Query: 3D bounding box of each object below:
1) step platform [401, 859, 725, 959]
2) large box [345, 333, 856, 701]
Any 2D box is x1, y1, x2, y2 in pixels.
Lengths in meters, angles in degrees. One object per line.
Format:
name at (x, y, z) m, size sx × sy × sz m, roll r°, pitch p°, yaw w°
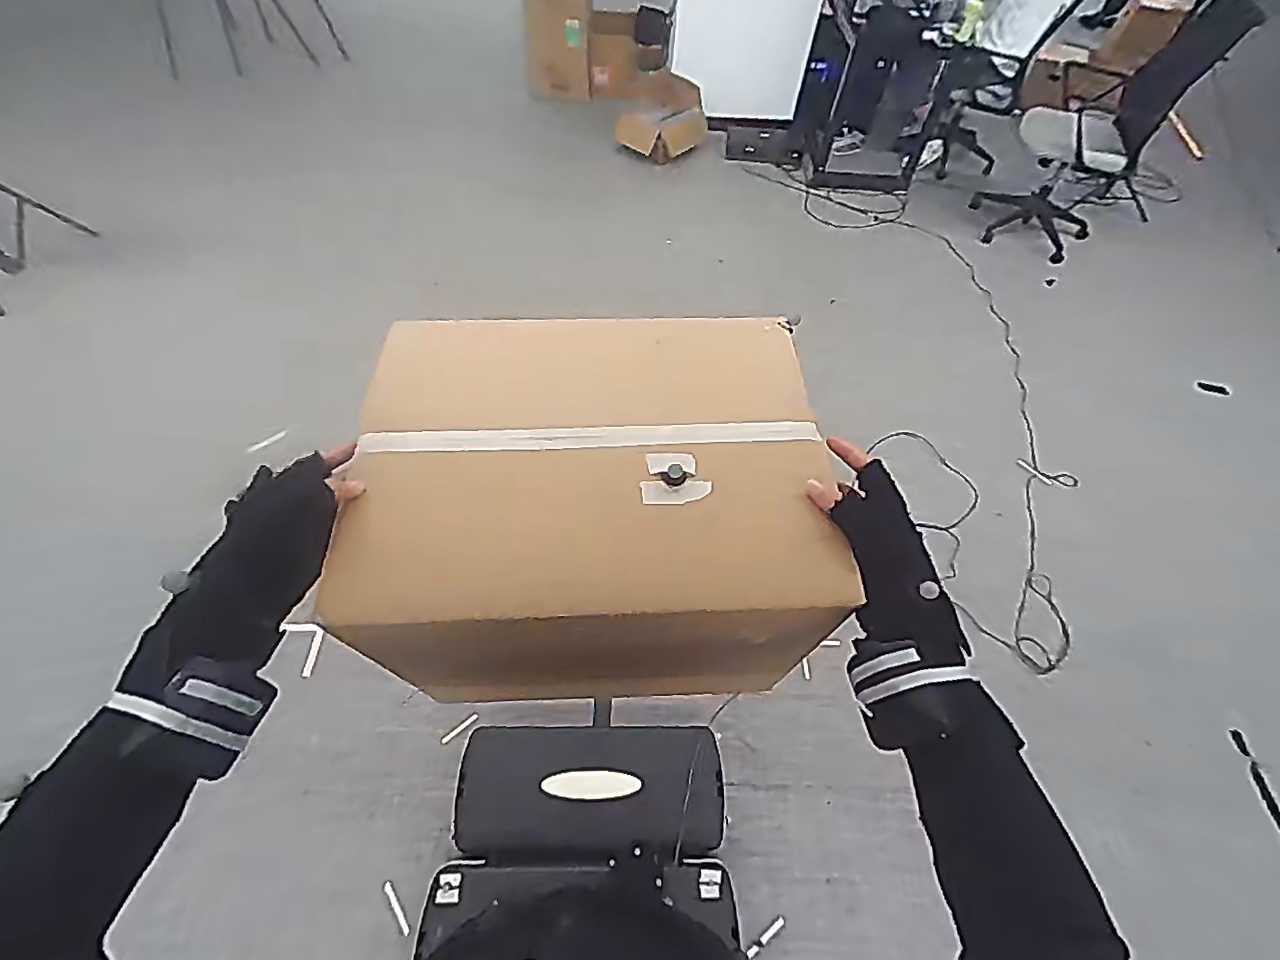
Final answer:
step platform at (-0.158, 1.009, 1.185) m, size 0.684 × 0.204 × 0.286 m, roll 1°, pitch 55°, yaw -1°
large box at (-0.039, 0.053, 0.619) m, size 0.408 × 0.320 × 0.320 m, roll -1°, pitch 58°, yaw -3°
